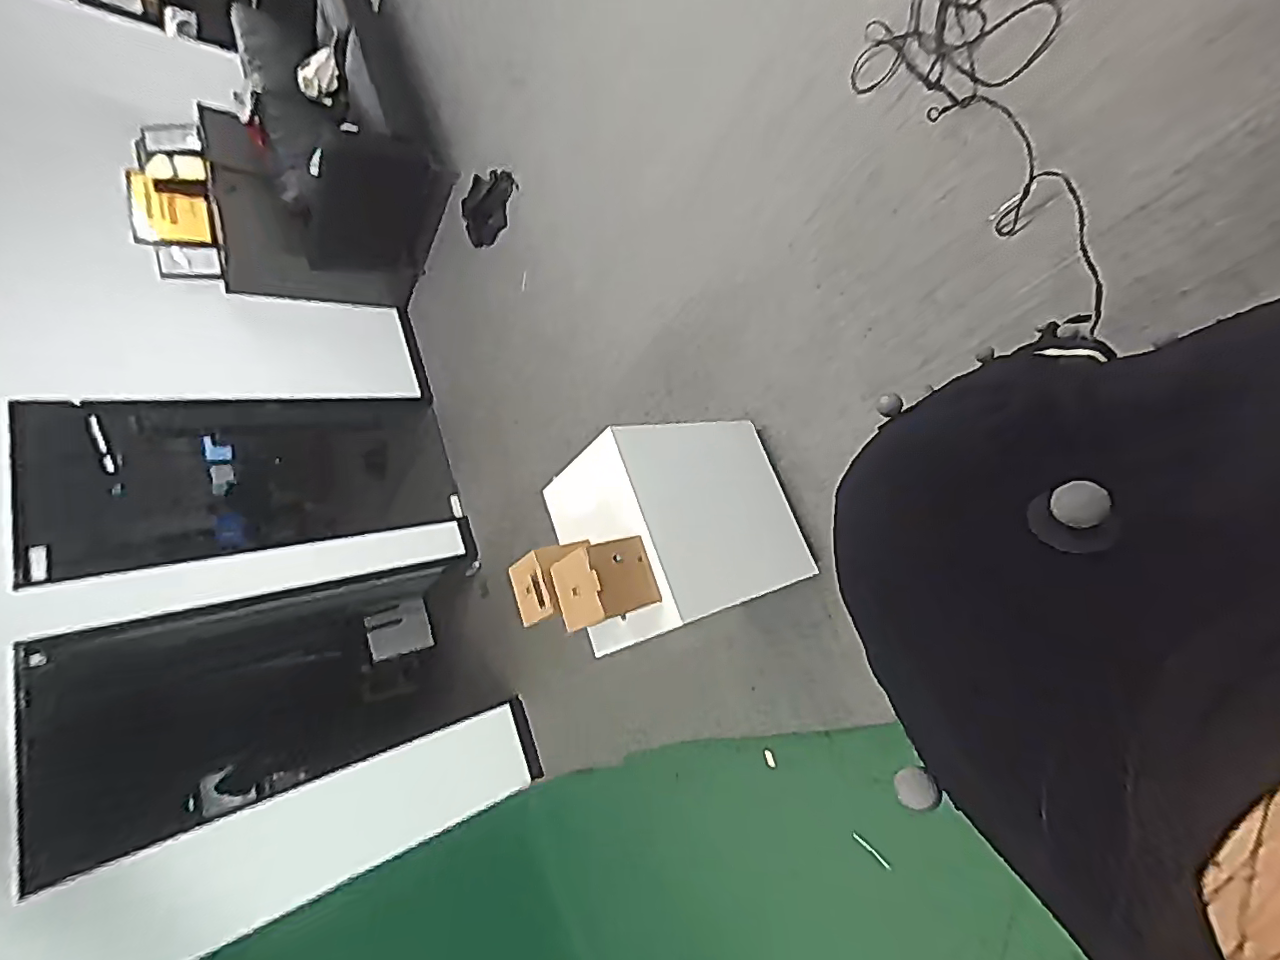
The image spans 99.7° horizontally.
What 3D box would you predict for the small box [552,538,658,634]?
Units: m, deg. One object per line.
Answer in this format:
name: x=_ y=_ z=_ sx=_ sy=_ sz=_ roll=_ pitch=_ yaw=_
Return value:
small box: x=-0.077 y=0.246 z=1.269 sx=0.179 sy=0.176 sz=0.168 roll=-37 pitch=66 yaw=48
